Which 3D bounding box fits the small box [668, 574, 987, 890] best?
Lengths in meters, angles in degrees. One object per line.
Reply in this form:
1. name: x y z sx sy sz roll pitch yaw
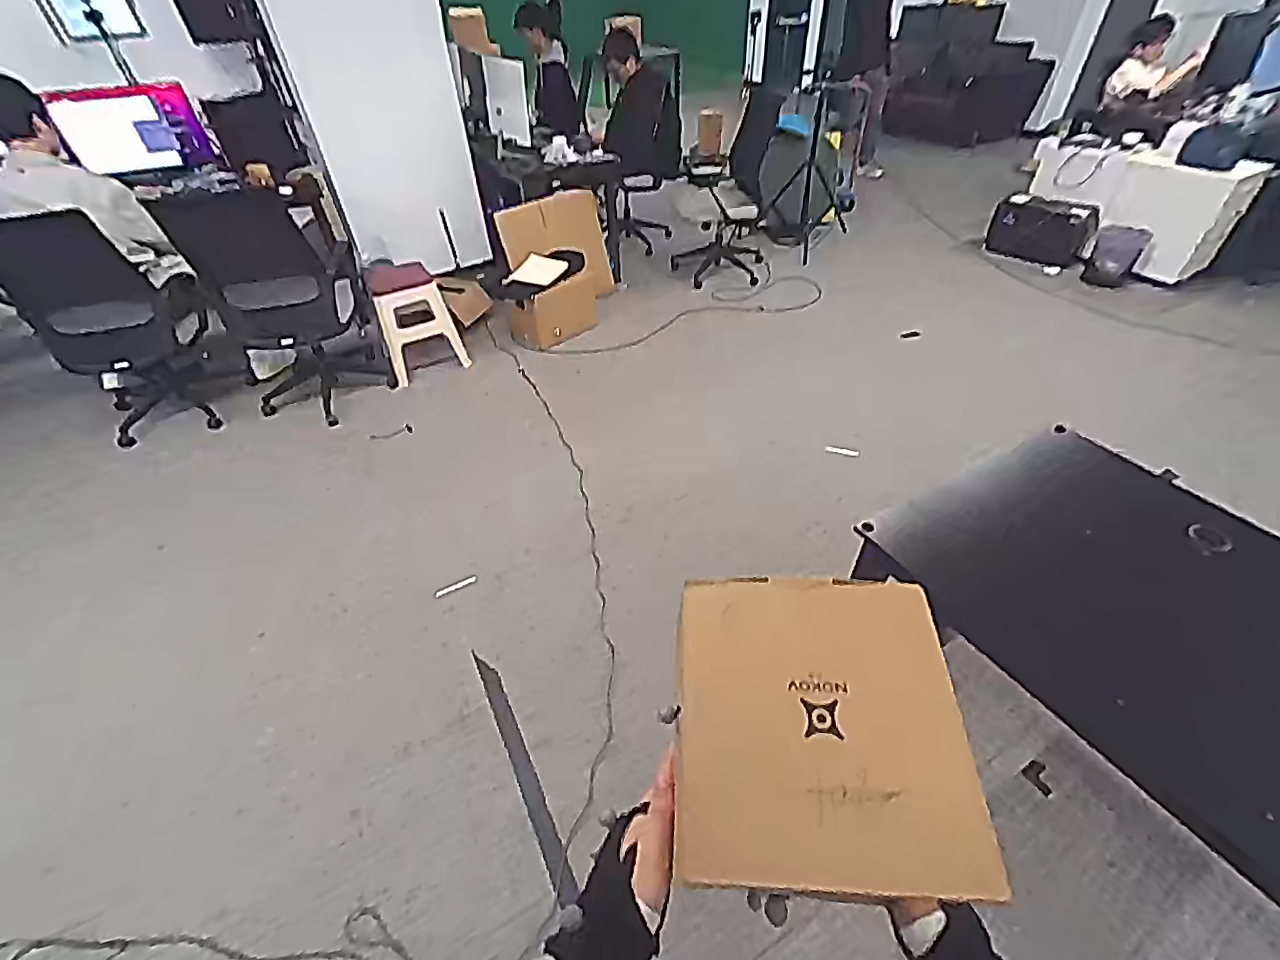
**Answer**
1. small box: 0.106 0.187 0.398 0.168 0.176 0.179 1 54 3
